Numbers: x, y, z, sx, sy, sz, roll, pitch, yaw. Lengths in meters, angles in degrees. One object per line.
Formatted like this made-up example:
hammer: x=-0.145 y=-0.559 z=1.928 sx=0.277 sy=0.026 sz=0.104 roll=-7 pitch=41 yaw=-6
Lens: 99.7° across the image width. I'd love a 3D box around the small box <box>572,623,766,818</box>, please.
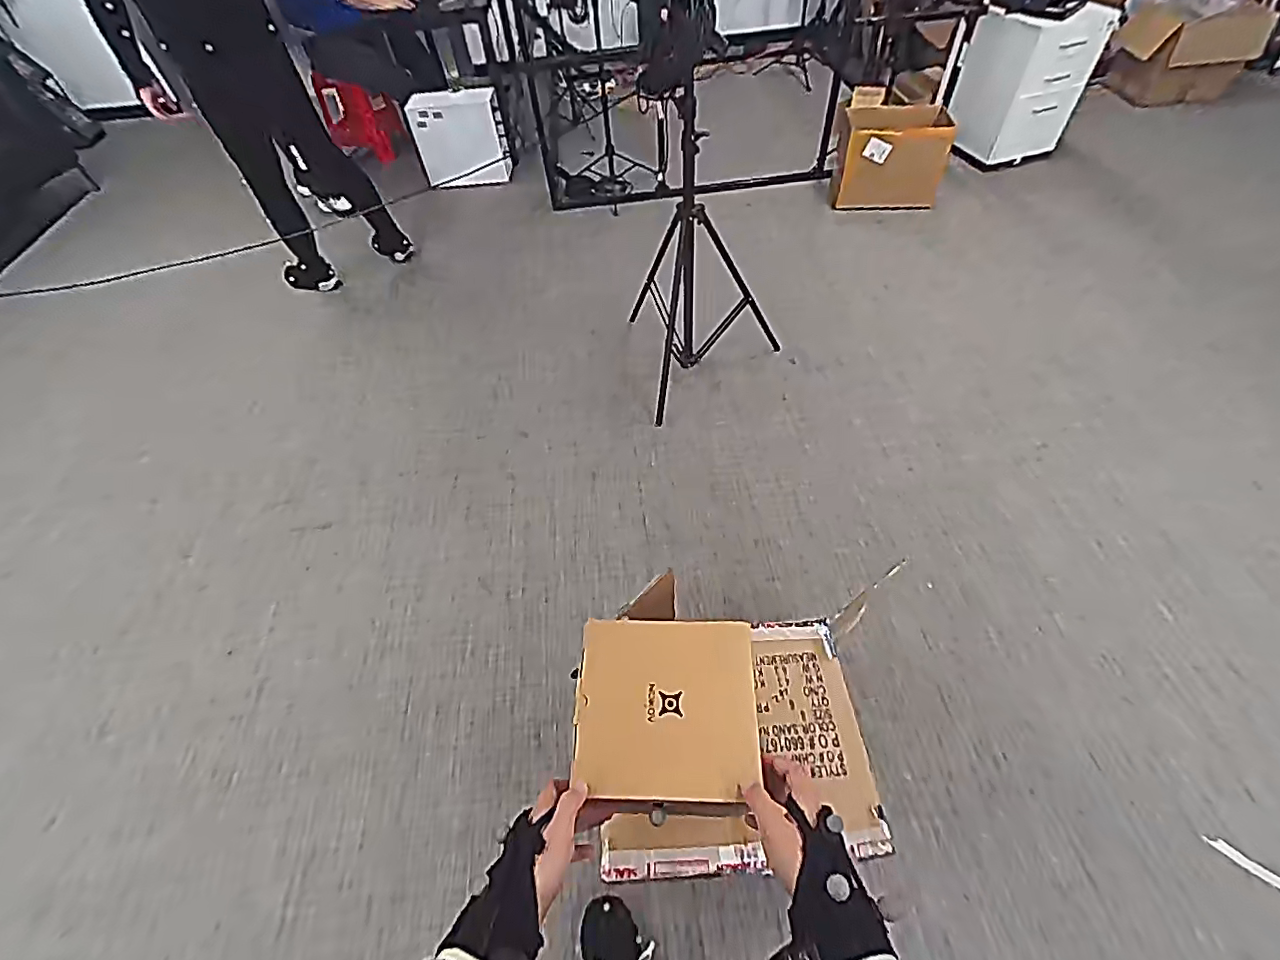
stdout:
small box: x=0.032 y=0.265 z=0.590 sx=0.179 sy=0.176 sz=0.168 roll=-1 pitch=54 yaw=5
